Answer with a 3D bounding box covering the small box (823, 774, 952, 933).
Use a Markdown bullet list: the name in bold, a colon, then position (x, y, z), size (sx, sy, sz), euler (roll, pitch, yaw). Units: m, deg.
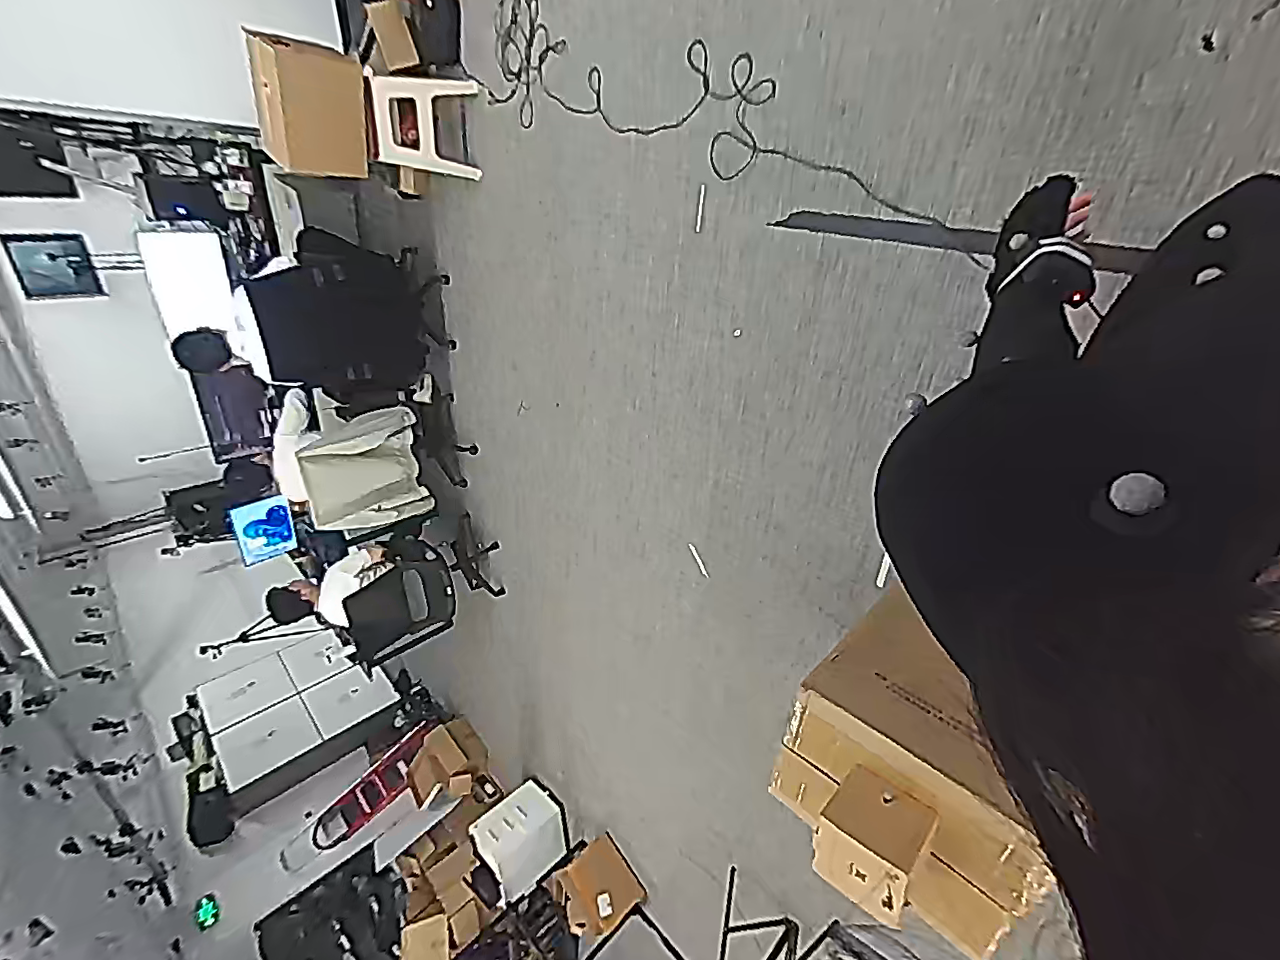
- **small box**: position (0.500, 0.738, 1.098), size (0.179, 0.176, 0.168), euler (19, 120, 43)
